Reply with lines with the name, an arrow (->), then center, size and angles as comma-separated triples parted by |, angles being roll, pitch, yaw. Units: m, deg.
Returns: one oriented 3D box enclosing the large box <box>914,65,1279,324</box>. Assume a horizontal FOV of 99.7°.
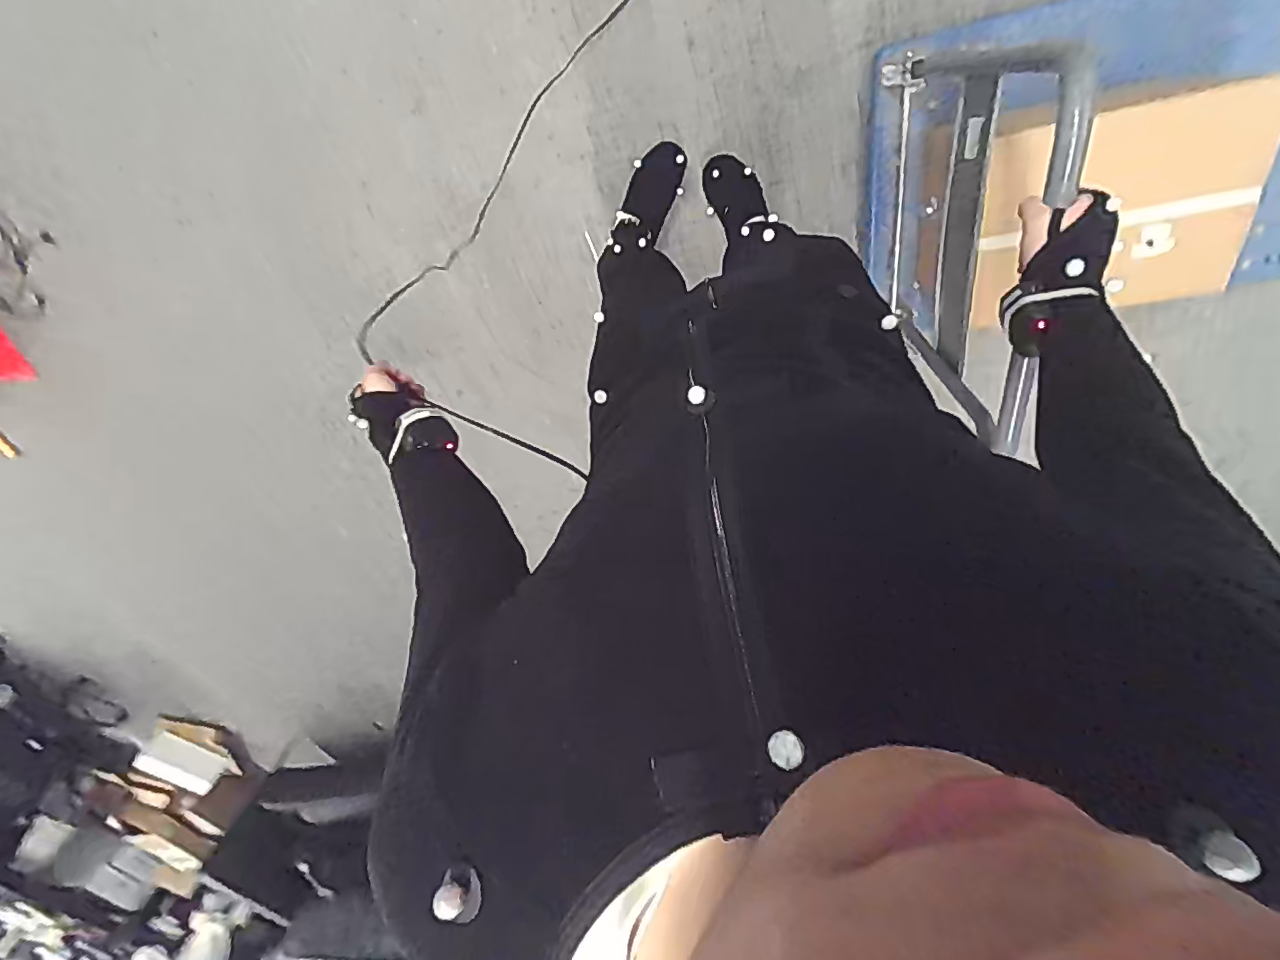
large box -> 0.773, -0.522, 1.008 | 0.408, 0.320, 0.320 | -7, 124, 12
